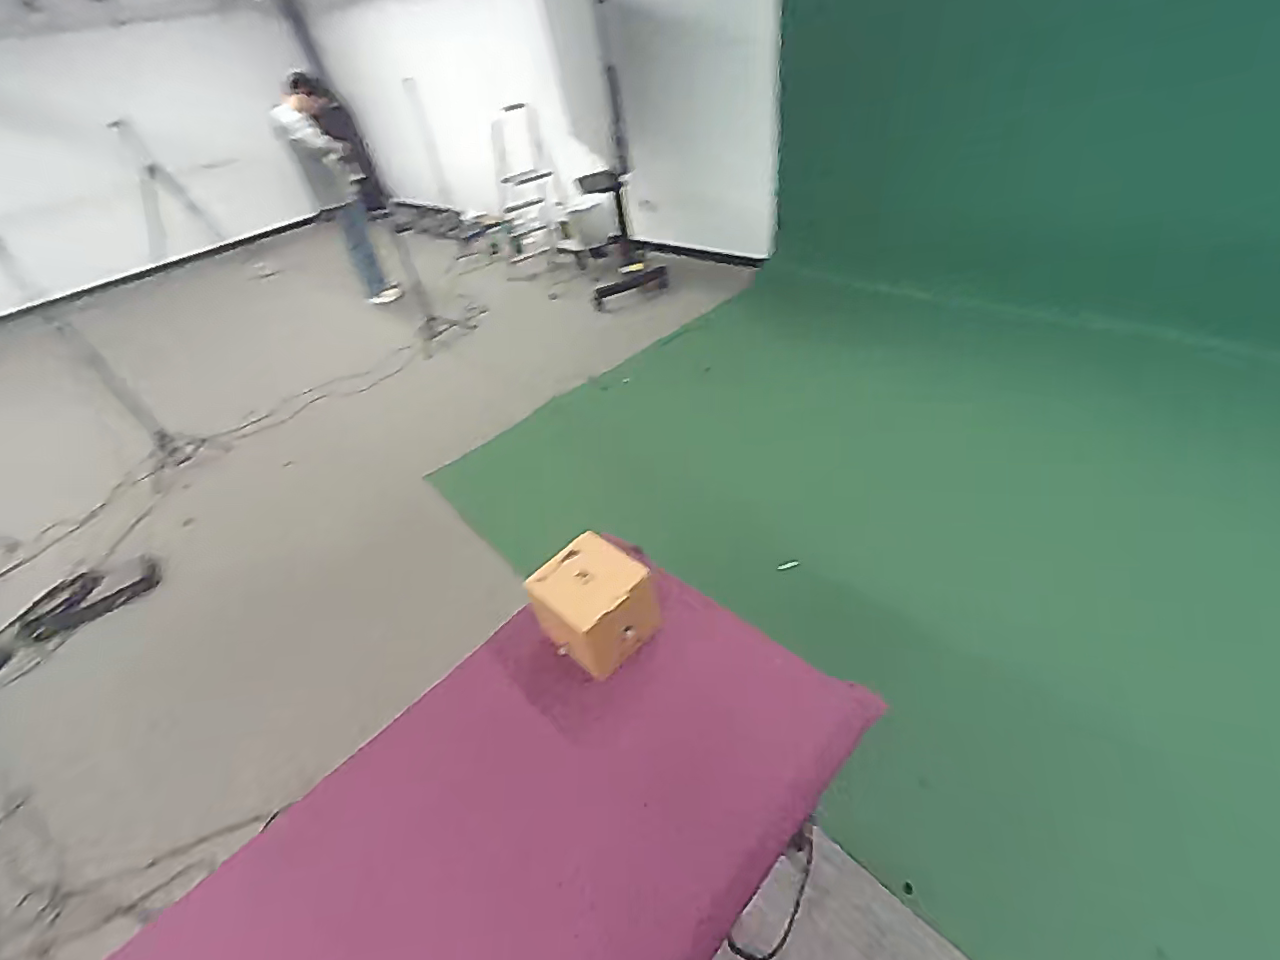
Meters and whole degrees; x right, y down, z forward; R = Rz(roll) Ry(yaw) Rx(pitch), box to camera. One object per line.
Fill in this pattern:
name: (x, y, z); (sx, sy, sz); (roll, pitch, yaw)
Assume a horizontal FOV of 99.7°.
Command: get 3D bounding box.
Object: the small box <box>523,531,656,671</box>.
small box: (-0.089, 0.236, 1.037); (0.179, 0.176, 0.168); (28, 55, 36)
